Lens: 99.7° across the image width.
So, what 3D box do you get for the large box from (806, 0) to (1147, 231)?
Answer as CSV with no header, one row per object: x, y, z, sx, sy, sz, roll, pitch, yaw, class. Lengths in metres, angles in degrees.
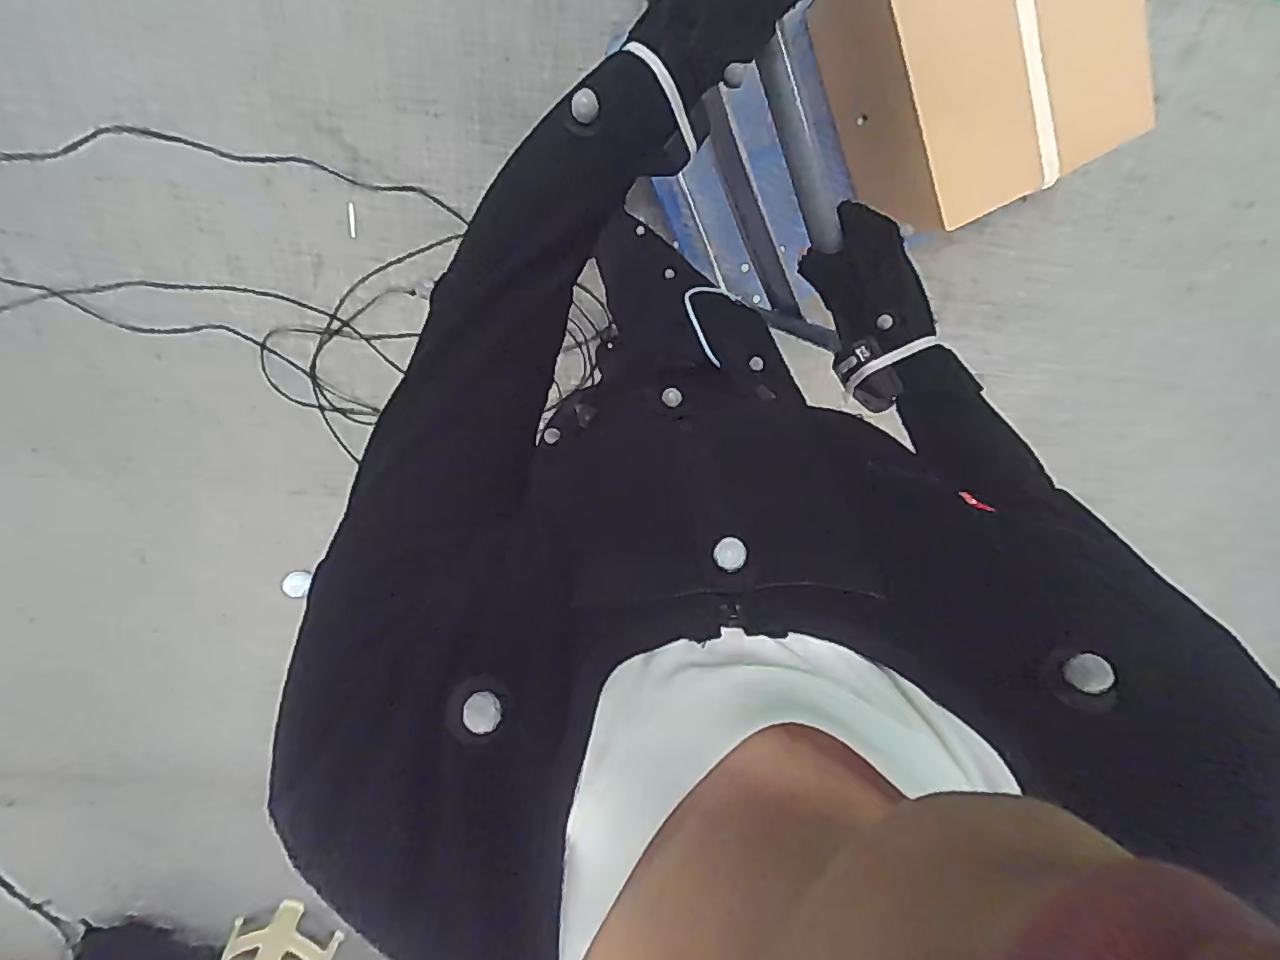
0.520,-0.677,0.887,0.320,0.320,0.408,-25,112,9,large box
